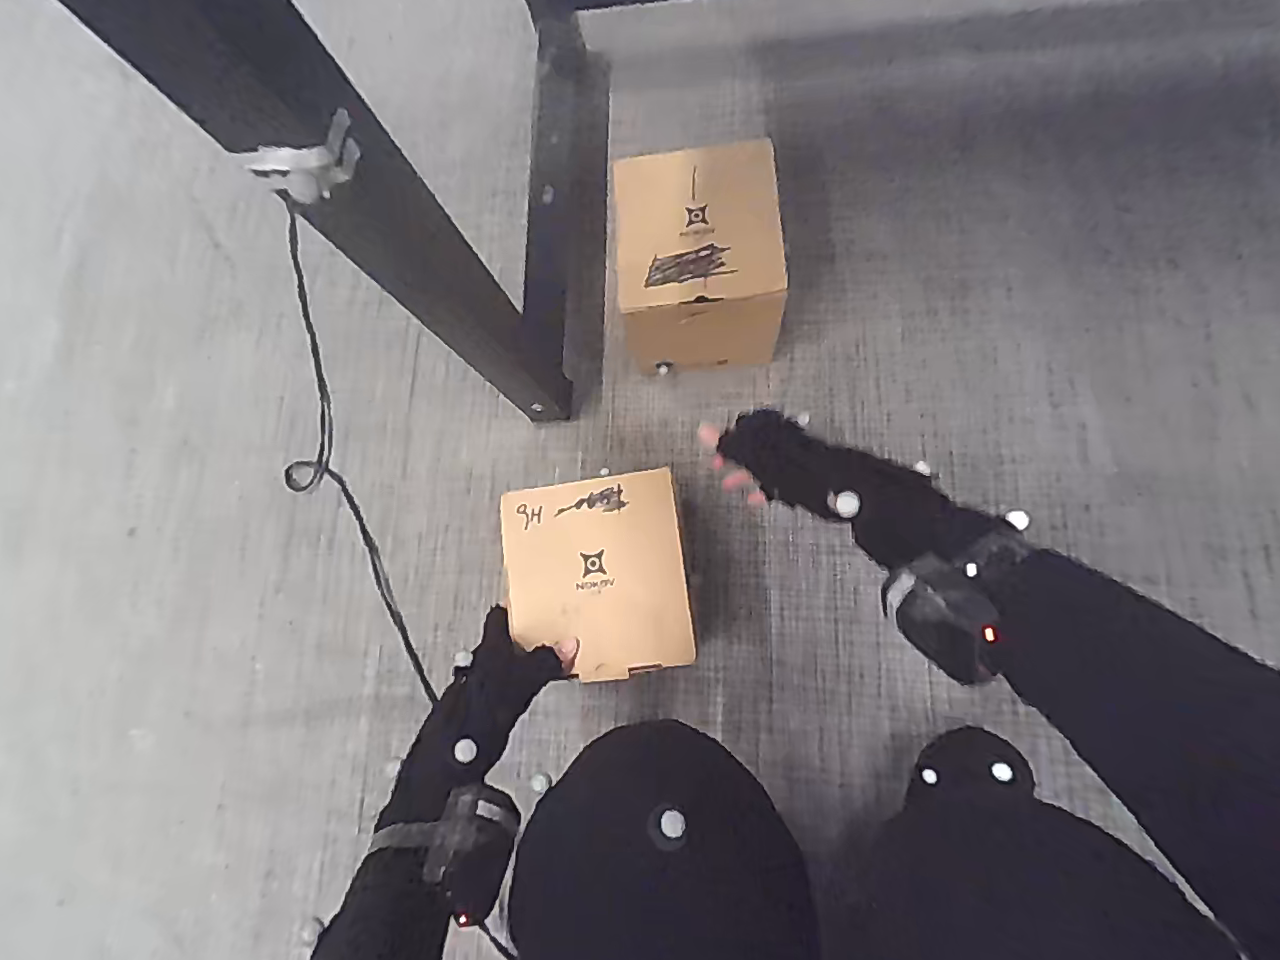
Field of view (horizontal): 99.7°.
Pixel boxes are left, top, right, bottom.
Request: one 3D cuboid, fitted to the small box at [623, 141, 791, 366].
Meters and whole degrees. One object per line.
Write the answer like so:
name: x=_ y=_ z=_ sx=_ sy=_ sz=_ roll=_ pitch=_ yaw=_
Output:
small box: x=0.076 y=-0.239 z=0.619 sx=0.168 sy=0.176 sz=0.179 roll=-3 pitch=78 yaw=7
